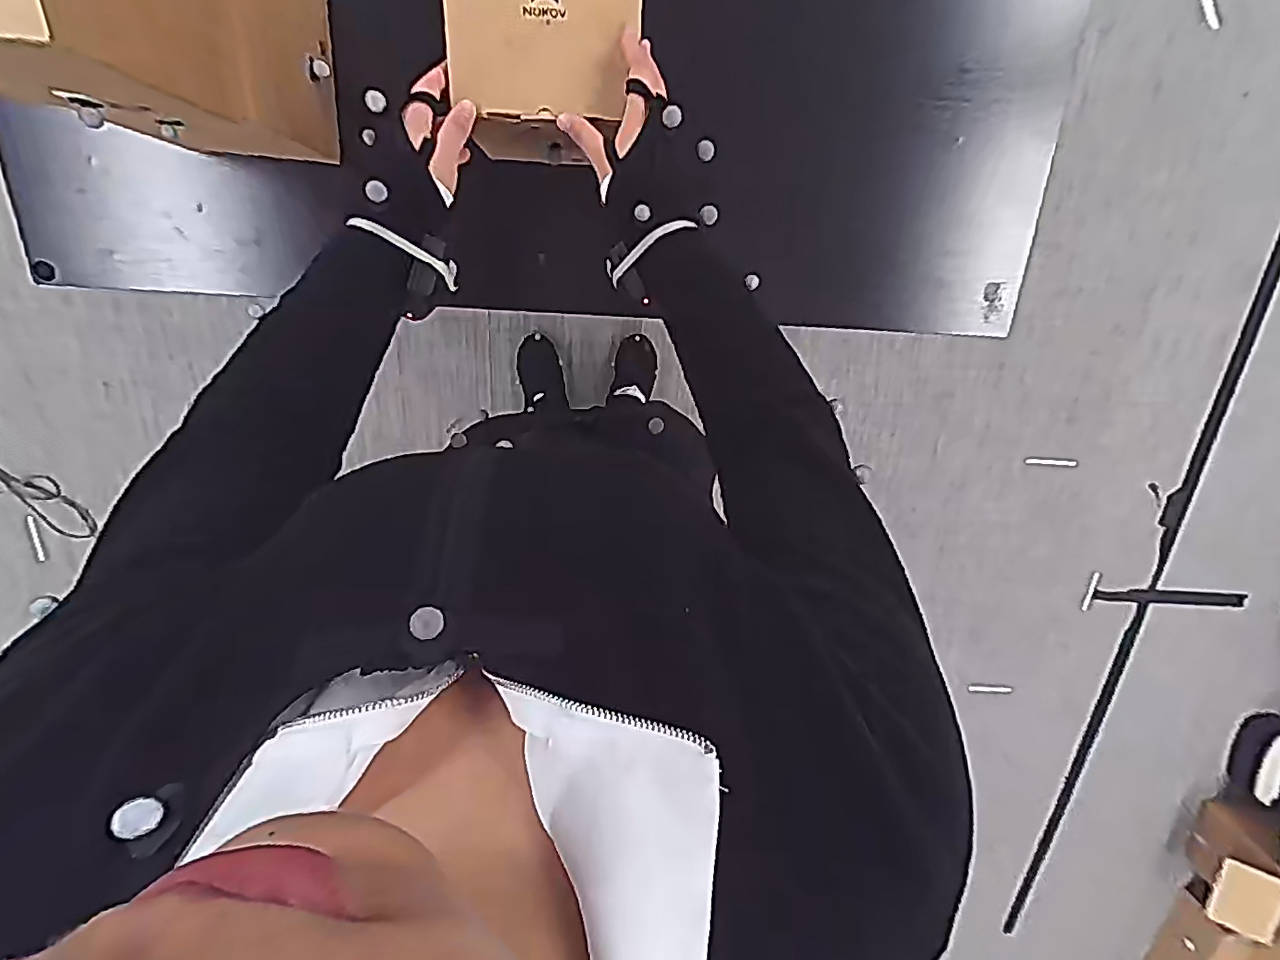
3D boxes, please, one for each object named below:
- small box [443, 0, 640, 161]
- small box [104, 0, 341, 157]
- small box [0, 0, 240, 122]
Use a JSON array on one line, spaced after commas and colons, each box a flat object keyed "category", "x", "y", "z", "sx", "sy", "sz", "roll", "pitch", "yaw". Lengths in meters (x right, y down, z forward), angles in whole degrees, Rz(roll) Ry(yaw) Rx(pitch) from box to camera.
[{"category": "small box", "x": -0.085, "y": -0.428, "z": 0.527, "sx": 0.168, "sy": 0.176, "sz": 0.179, "roll": 2, "pitch": 109, "yaw": -3}, {"category": "small box", "x": -0.416, "y": -0.422, "z": 0.510, "sx": 0.179, "sy": 0.176, "sz": 0.168, "roll": 3, "pitch": 109, "yaw": -4}, {"category": "small box", "x": -0.411, "y": -0.368, "z": 0.357, "sx": 0.168, "sy": 0.176, "sz": 0.179, "roll": 3, "pitch": 110, "yaw": -2}]
